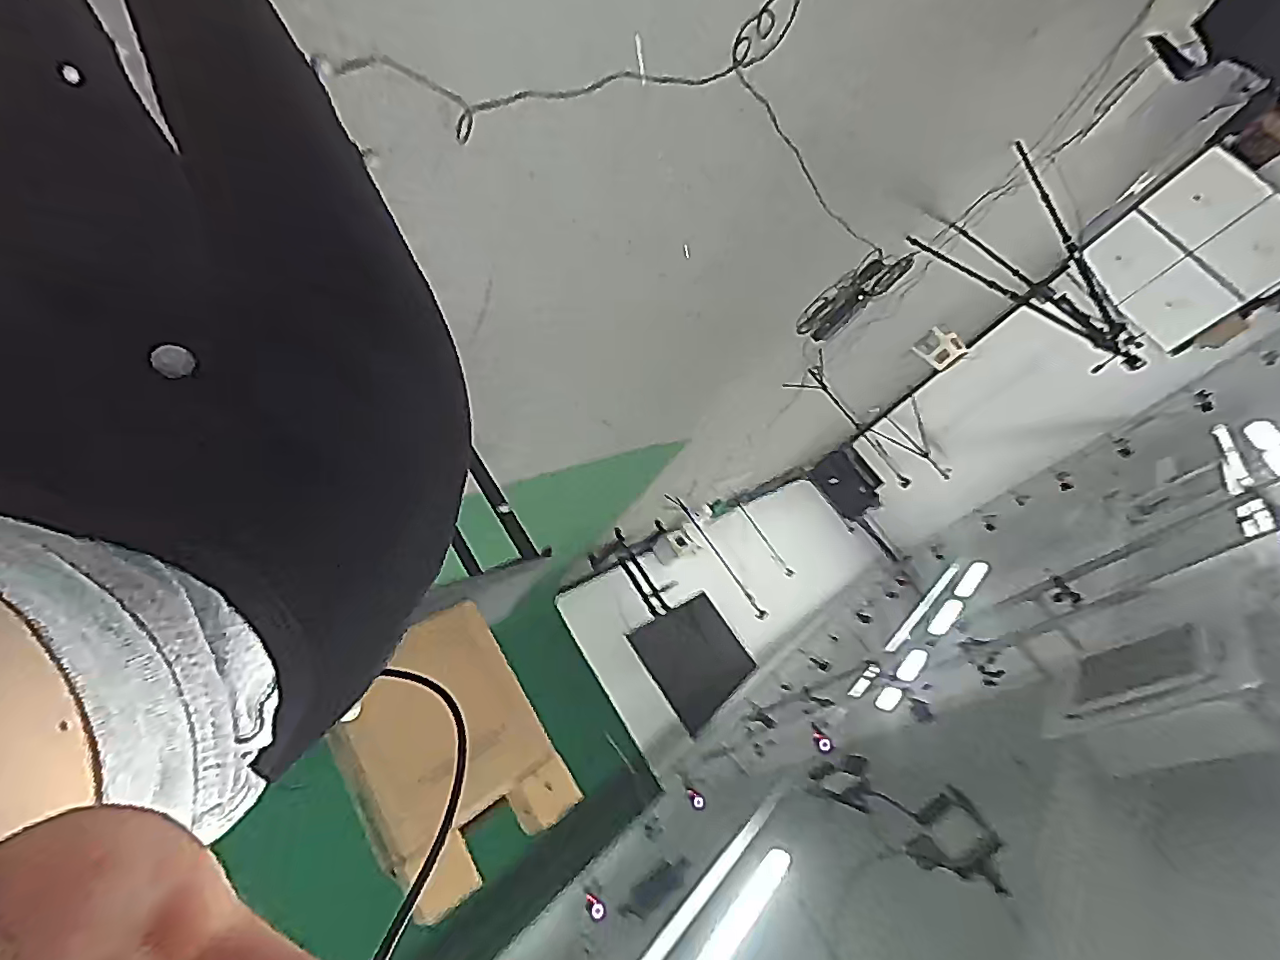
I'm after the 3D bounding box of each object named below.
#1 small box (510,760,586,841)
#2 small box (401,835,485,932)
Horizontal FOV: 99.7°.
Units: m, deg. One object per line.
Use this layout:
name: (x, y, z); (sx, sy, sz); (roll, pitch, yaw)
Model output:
small box: (-0.321, 1.093, 1.852); (0.168, 0.176, 0.179); (-20, 158, -42)
small box: (-0.587, 1.189, 1.599); (0.168, 0.176, 0.179); (-19, 156, -41)
